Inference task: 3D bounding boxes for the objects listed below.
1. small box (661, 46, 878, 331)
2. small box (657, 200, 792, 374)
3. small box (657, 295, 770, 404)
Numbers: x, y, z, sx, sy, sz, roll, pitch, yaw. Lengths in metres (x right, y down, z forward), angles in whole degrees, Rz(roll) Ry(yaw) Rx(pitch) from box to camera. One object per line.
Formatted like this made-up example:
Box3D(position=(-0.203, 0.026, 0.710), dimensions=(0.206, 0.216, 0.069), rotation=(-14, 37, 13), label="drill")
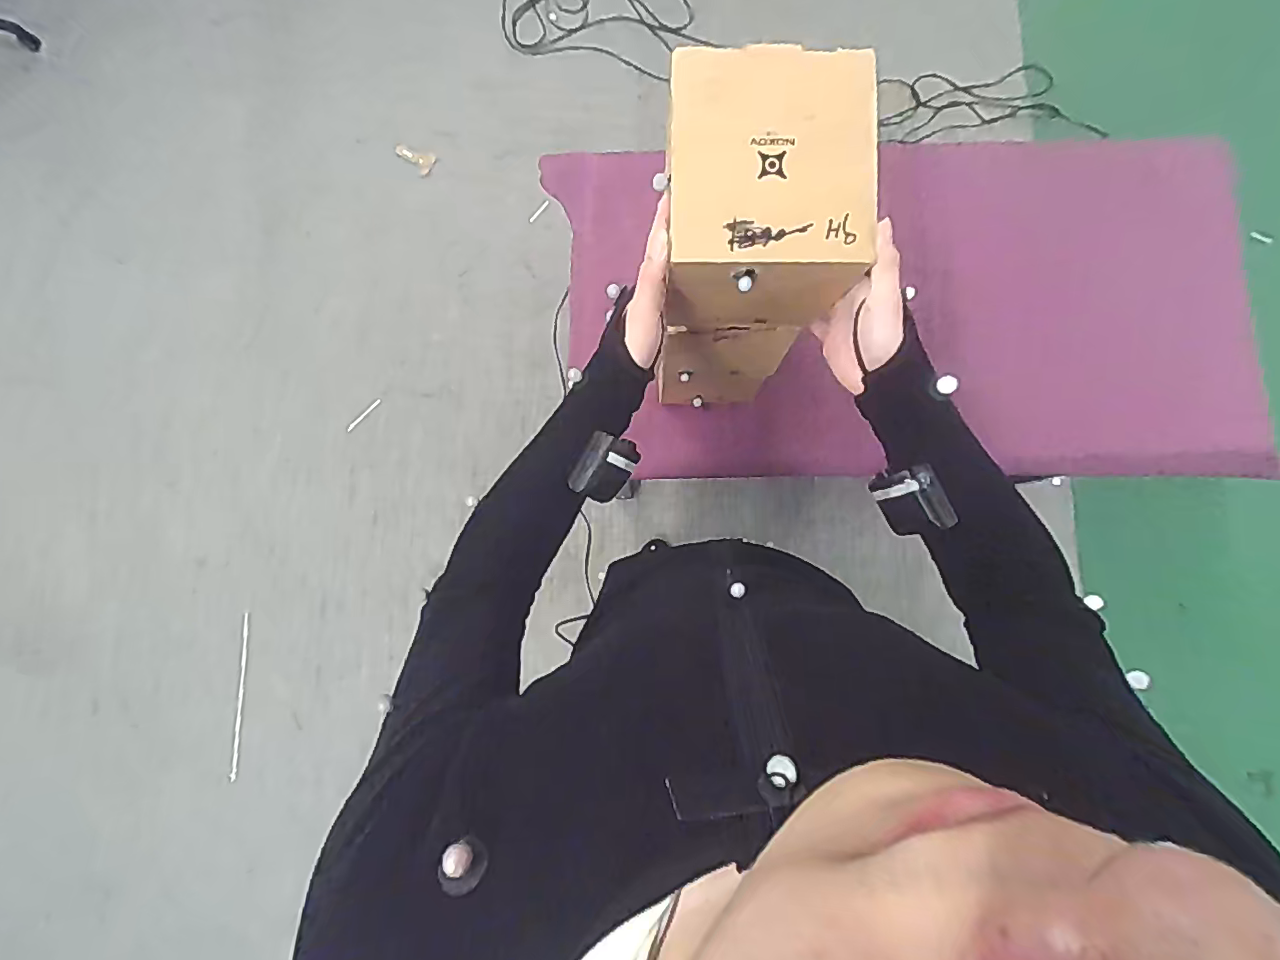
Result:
Box3D(position=(0.106, -0.254, 0.506), dimensions=(0.168, 0.176, 0.179), rotation=(1, 89, 1), label="small box")
Box3D(position=(0.108, -0.248, 0.726), dimensions=(0.168, 0.176, 0.179), rotation=(-2, 81, 2), label="small box")
Box3D(position=(0.112, -0.233, 0.889), dimensions=(0.168, 0.176, 0.179), rotation=(-2, 82, 2), label="small box")
